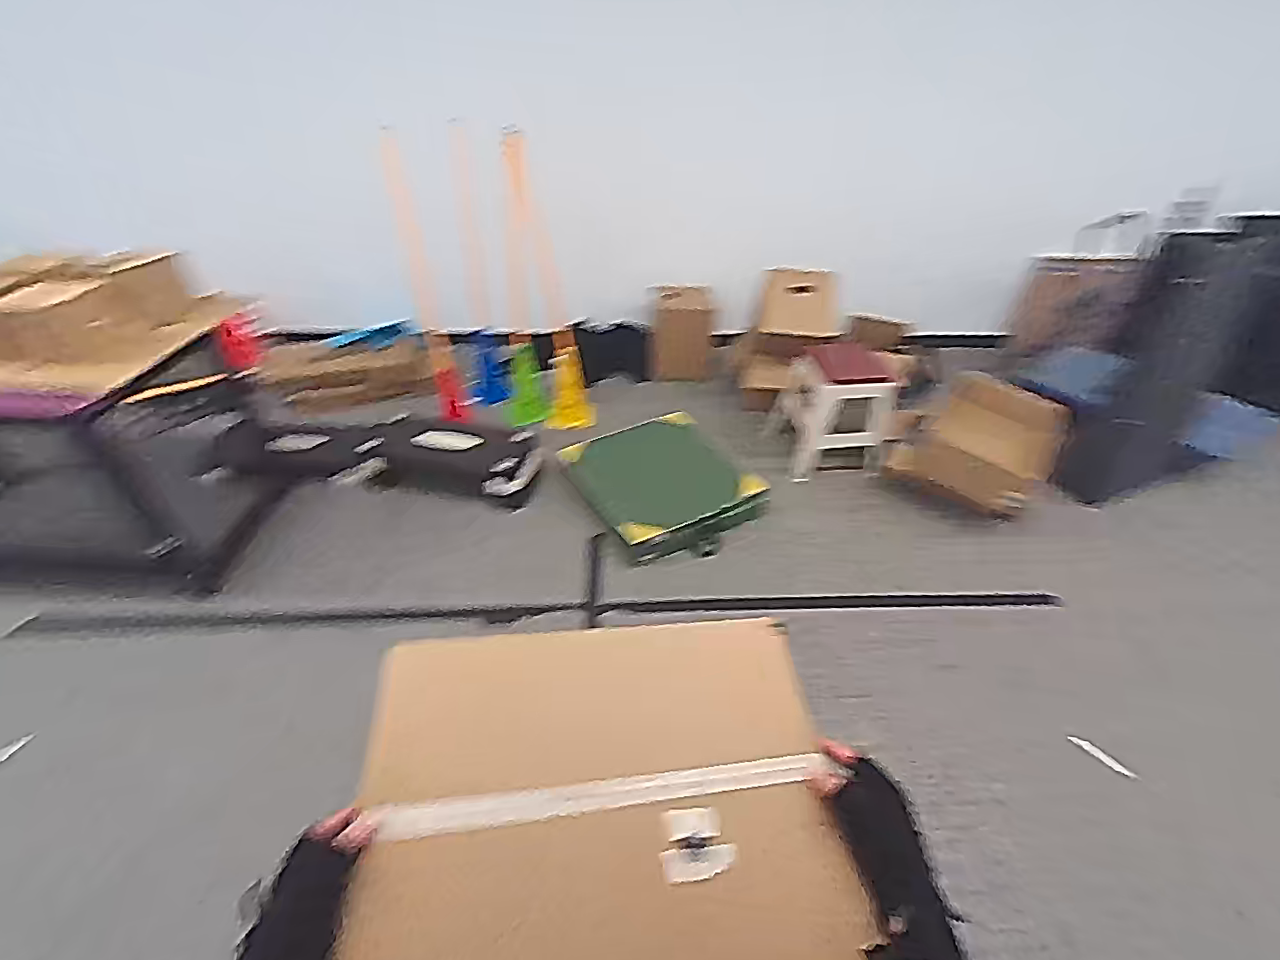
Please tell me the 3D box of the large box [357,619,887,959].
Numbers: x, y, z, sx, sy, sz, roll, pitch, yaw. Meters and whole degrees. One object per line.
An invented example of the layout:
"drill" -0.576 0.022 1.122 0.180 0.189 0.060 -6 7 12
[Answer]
"large box" -0.043 0.378 0.584 0.408 0.320 0.320 -1 46 -12
